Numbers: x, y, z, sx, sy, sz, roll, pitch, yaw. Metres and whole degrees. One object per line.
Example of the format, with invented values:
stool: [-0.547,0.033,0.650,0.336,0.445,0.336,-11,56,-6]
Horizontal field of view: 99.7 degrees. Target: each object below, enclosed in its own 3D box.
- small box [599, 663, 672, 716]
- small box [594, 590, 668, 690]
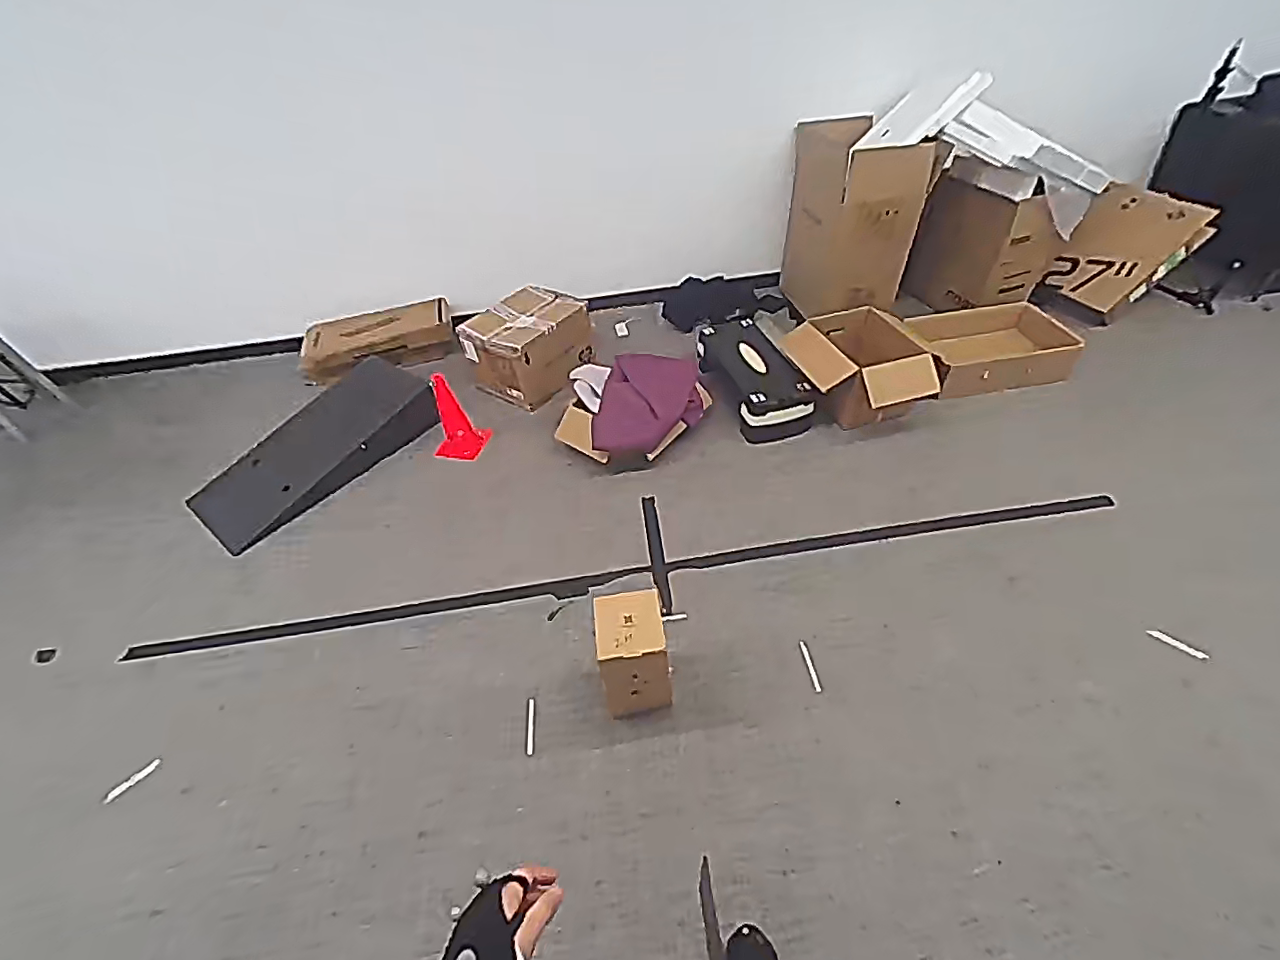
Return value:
small box: [-0.015,0.523,1.481,0.179,0.176,0.168,-10,45,-5]
small box: [-0.022,0.404,1.366,0.168,0.176,0.179,-8,45,-2]
